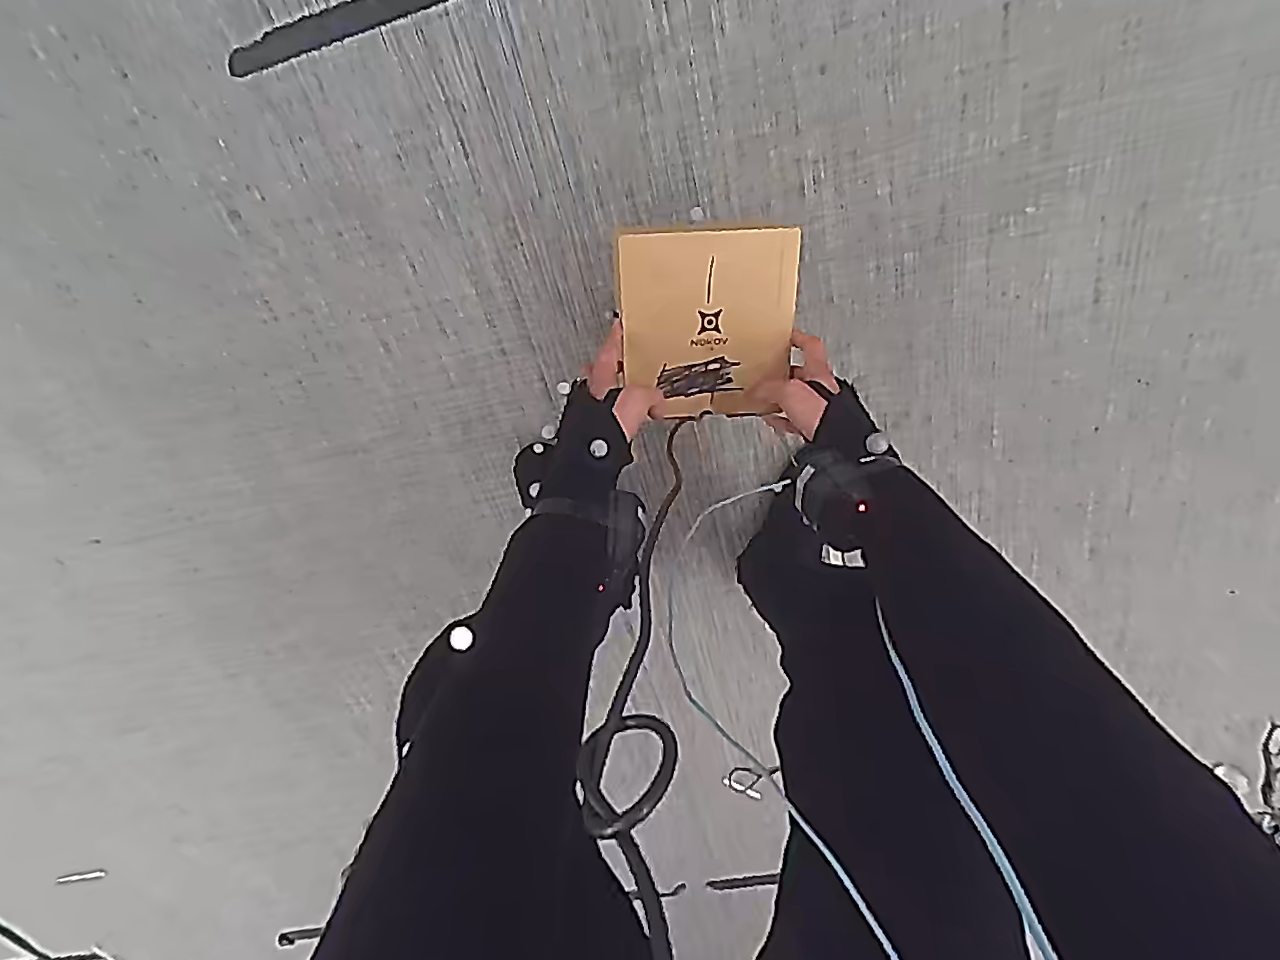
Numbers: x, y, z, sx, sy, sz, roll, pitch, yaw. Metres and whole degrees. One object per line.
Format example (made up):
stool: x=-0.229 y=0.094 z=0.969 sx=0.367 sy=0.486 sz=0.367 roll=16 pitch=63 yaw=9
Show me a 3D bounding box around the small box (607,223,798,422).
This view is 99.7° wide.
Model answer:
small box: x=0.051 y=-0.173 z=0.573 sx=0.168 sy=0.176 sz=0.179 roll=-3 pitch=116 yaw=-4
